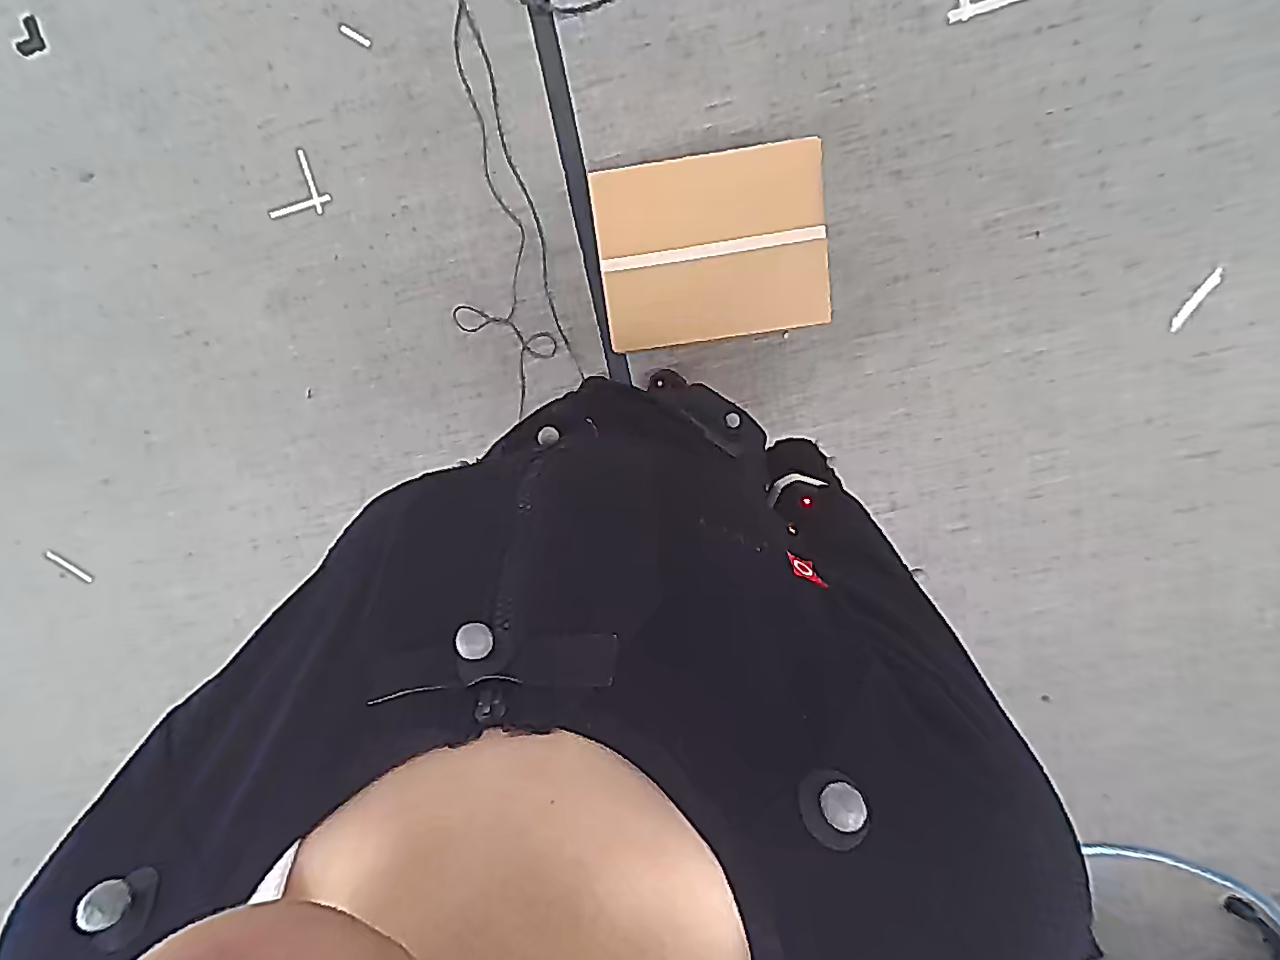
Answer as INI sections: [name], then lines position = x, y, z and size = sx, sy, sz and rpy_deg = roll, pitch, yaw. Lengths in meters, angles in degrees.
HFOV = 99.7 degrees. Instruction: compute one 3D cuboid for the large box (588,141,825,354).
[large box]
position = 0.131, -0.446, 1.120
size = 0.408, 0.320, 0.320
rpy_deg = -7, 102, 4
